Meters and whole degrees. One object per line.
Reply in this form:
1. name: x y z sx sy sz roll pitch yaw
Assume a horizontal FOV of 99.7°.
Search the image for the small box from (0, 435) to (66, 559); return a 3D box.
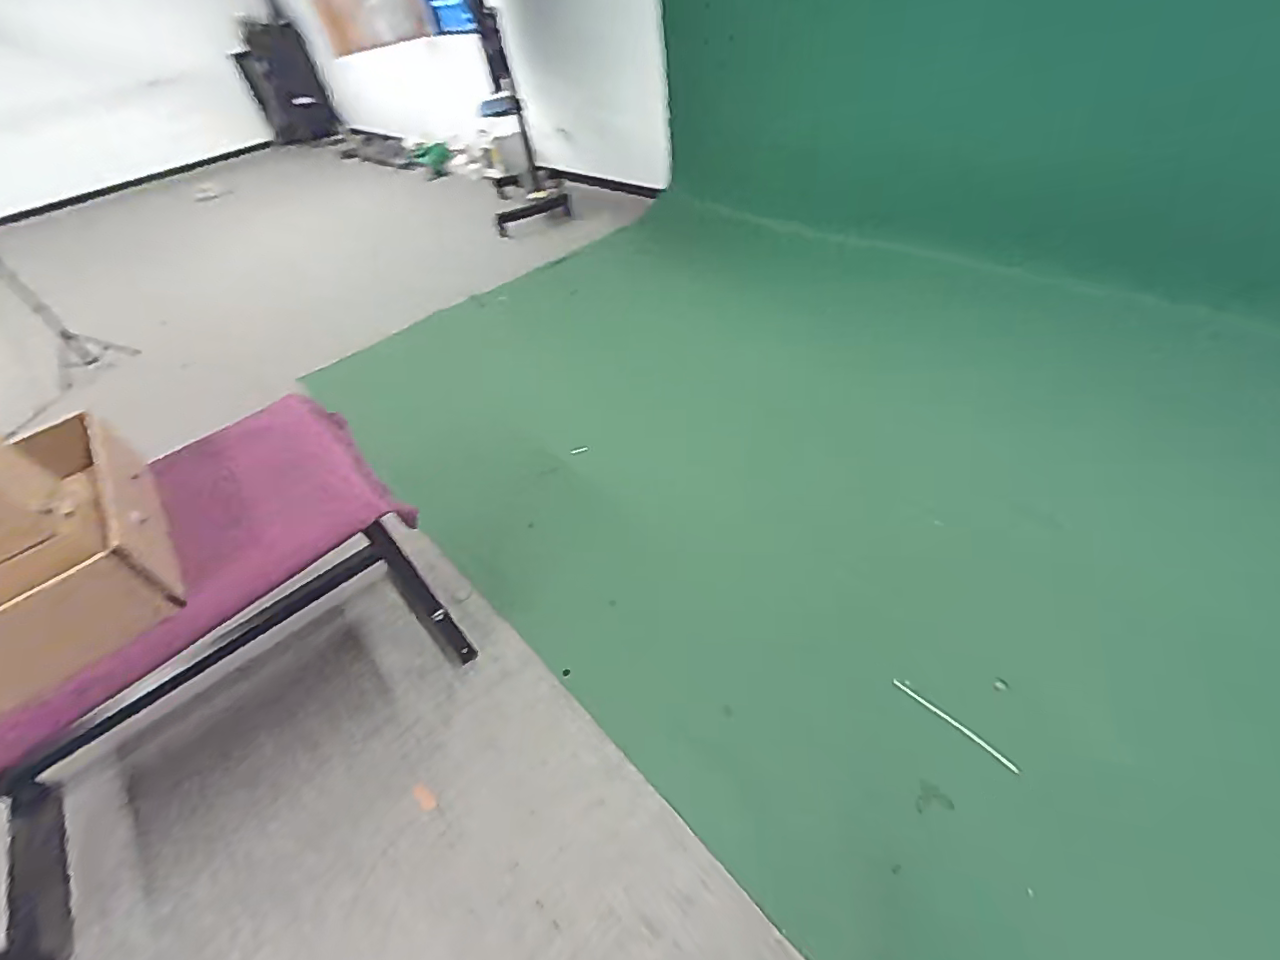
1. small box: -1.090 0.034 0.870 0.179 0.176 0.168 -36 49 -21
